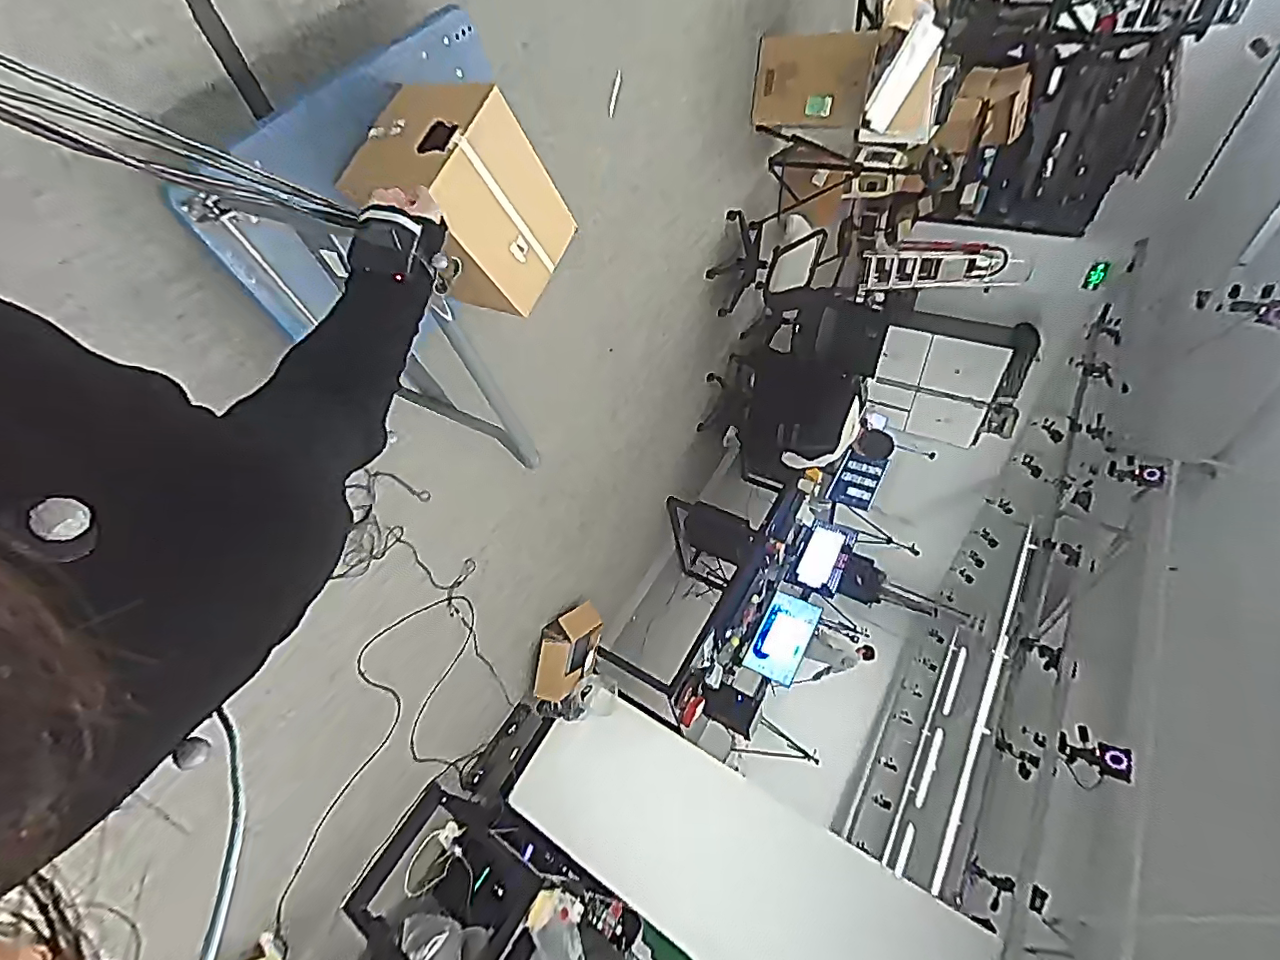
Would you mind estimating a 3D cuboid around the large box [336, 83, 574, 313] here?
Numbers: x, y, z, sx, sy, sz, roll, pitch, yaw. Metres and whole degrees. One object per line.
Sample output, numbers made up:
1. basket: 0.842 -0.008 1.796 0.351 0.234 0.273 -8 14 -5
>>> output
1. large box: -0.436 -0.684 1.345 0.320 0.320 0.408 -63 154 -10
